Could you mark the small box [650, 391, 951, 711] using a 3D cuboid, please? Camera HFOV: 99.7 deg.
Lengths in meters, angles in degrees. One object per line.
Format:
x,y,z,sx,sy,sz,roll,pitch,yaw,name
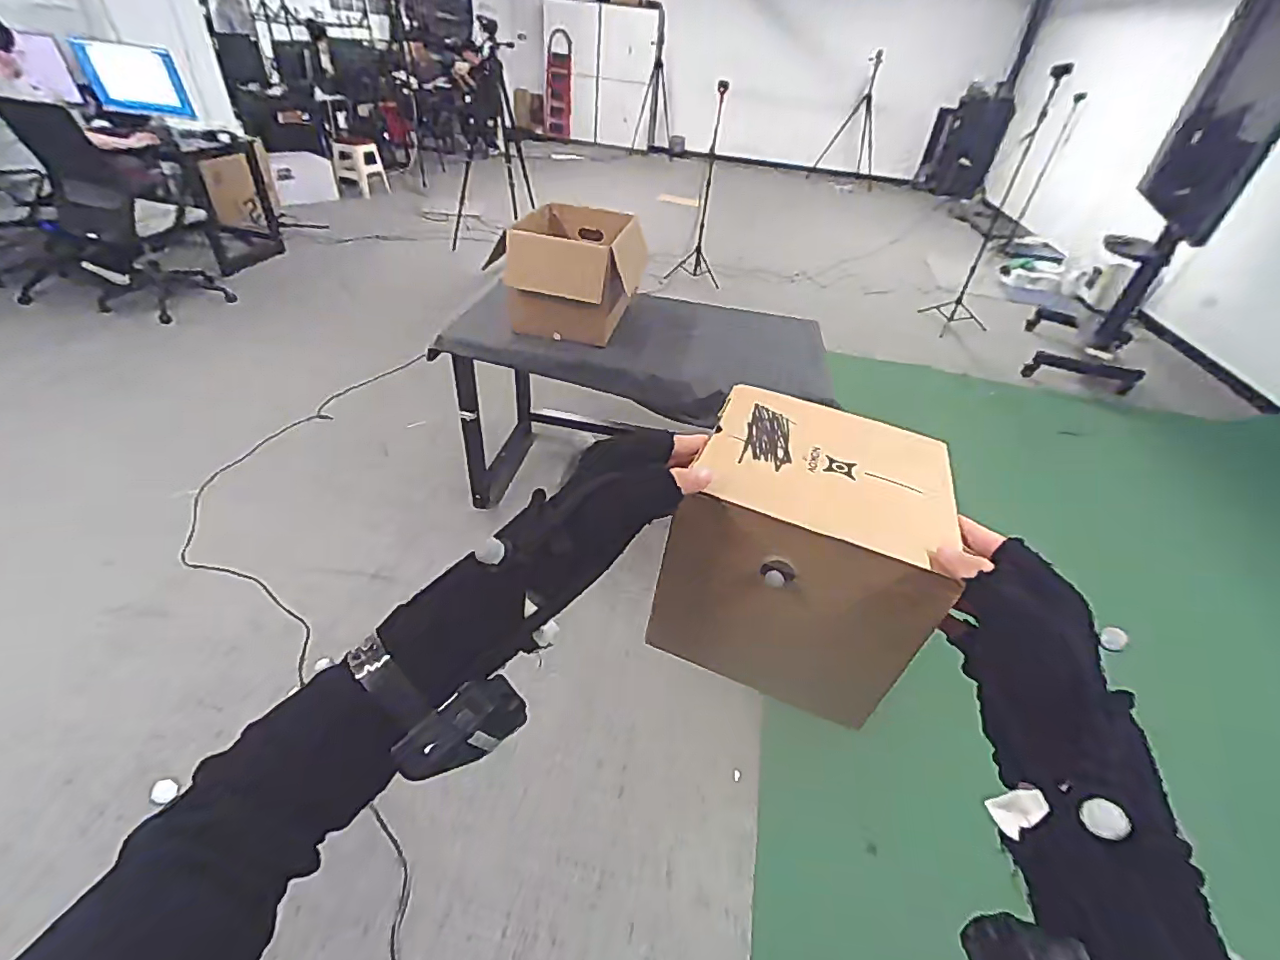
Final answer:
0.120,0.054,0.443,0.179,0.176,0.168,19,38,12,small box
